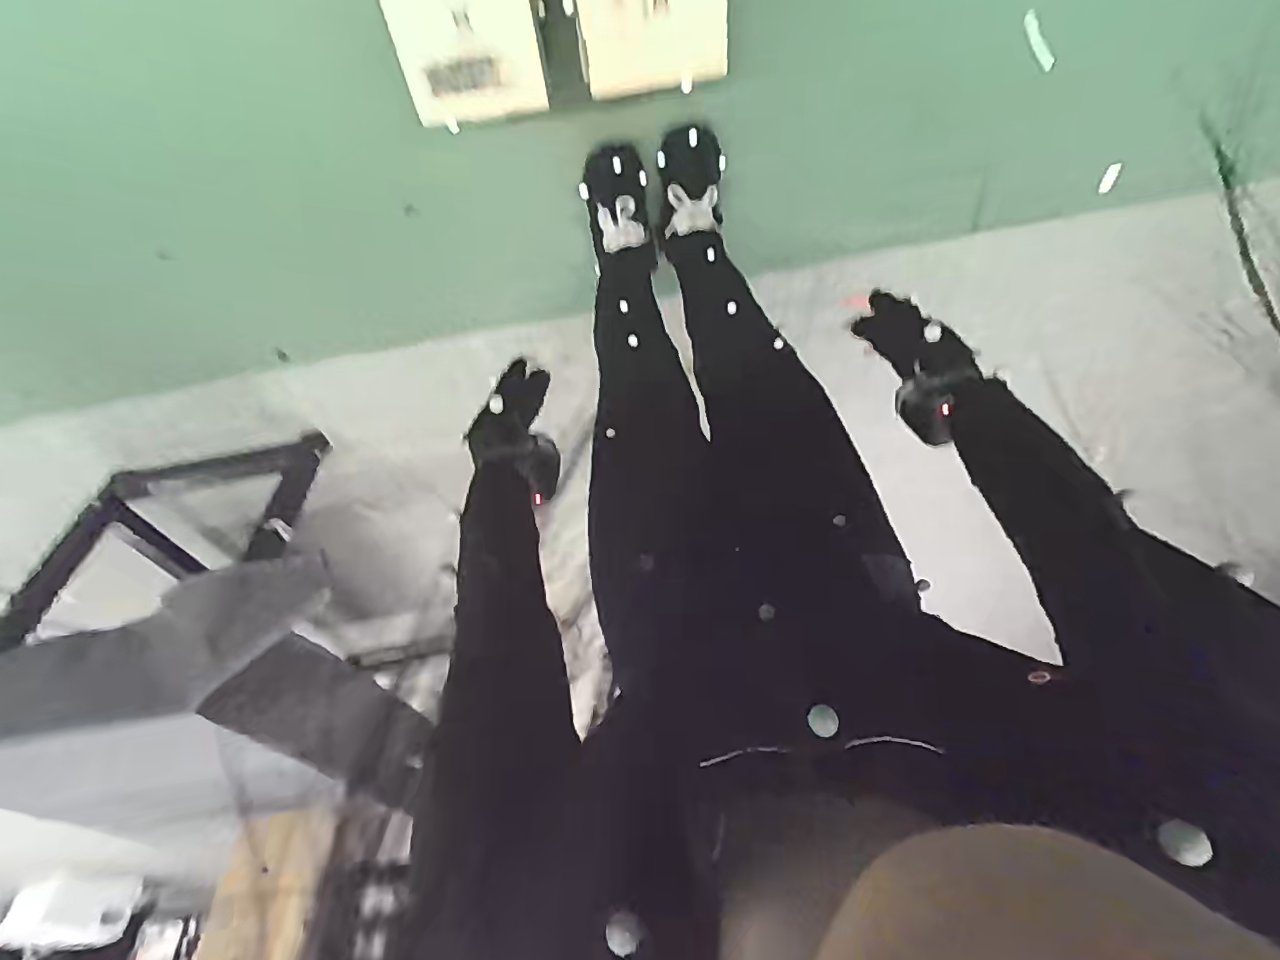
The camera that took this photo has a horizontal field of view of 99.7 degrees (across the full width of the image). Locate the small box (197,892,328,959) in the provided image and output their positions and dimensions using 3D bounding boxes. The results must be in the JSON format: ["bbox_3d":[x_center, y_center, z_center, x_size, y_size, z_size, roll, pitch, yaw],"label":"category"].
[{"bbox_3d":[-0.824,1.022,1.177,0.179,0.176,0.168,-11,135,2],"label":"small box"}]

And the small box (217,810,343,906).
[{"bbox_3d":[-0.842,0.909,1.292,0.179,0.176,0.168,-10,135,3],"label":"small box"}]
